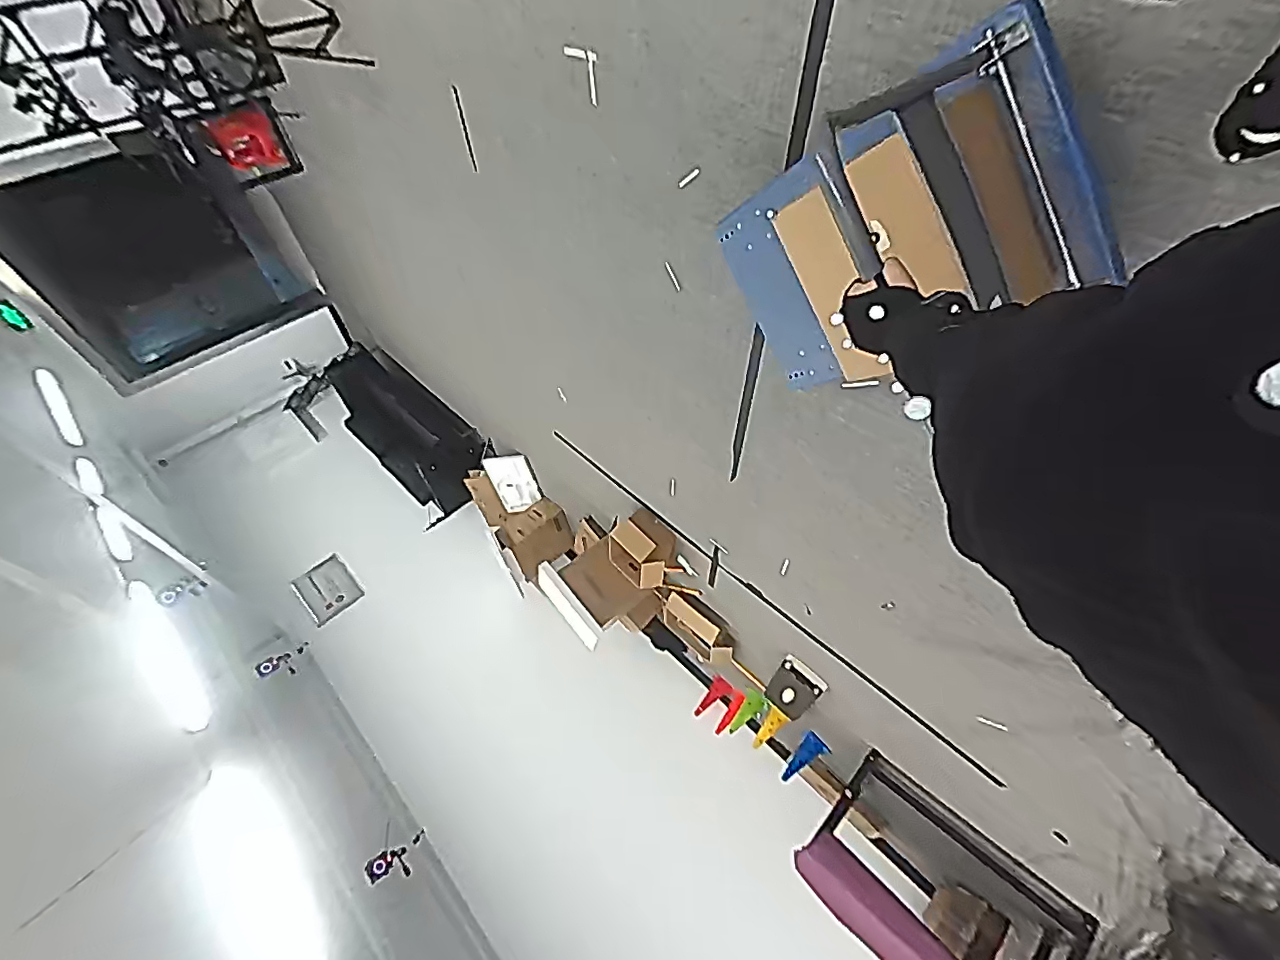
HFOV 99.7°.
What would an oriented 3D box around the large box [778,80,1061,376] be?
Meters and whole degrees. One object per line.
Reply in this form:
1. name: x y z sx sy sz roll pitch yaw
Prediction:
1. large box: 0.567 -0.485 1.103 0.408 0.320 0.320 59 154 -14
